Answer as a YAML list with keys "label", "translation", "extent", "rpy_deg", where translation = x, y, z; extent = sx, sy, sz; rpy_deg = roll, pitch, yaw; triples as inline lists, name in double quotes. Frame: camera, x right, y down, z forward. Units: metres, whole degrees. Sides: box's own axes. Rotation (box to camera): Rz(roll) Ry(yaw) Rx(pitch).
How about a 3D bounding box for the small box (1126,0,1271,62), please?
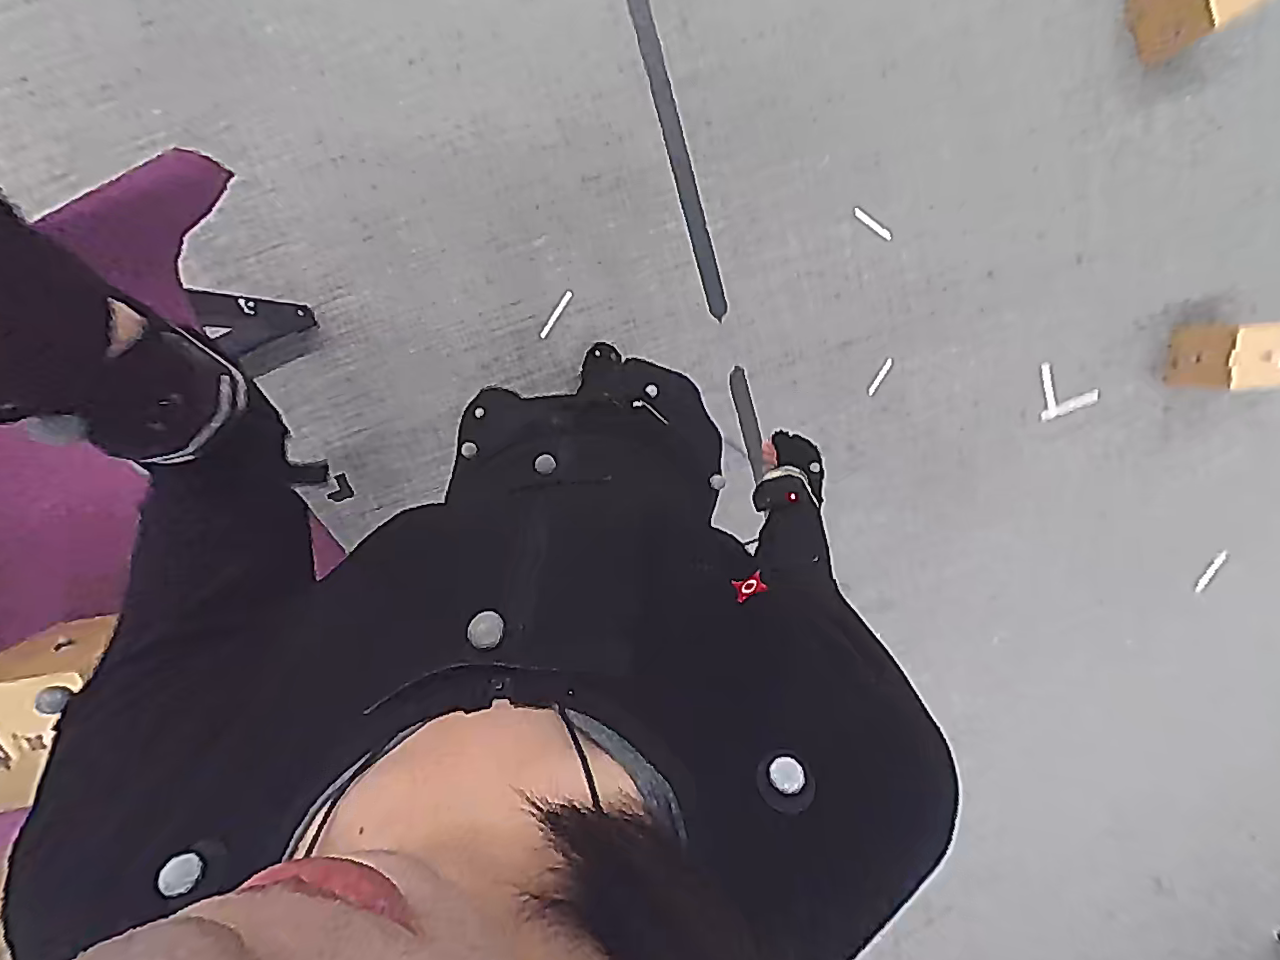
- label: "small box"
  translation: [1.310, -1.132, 1.269]
  extent: [0.168, 0.176, 0.179]
  rpy_deg: [-31, 102, 2]

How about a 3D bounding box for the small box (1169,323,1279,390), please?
- label: "small box"
  translation: [1.610, -0.336, 1.474]
  extent: [0.179, 0.176, 0.168]
  rpy_deg: [-5, 104, -2]

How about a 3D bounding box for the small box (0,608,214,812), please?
- label: "small box"
  translation: [-0.709, 0.283, 0.692]
  extent: [0.179, 0.176, 0.168]
  rpy_deg: [-9, 104, -3]
